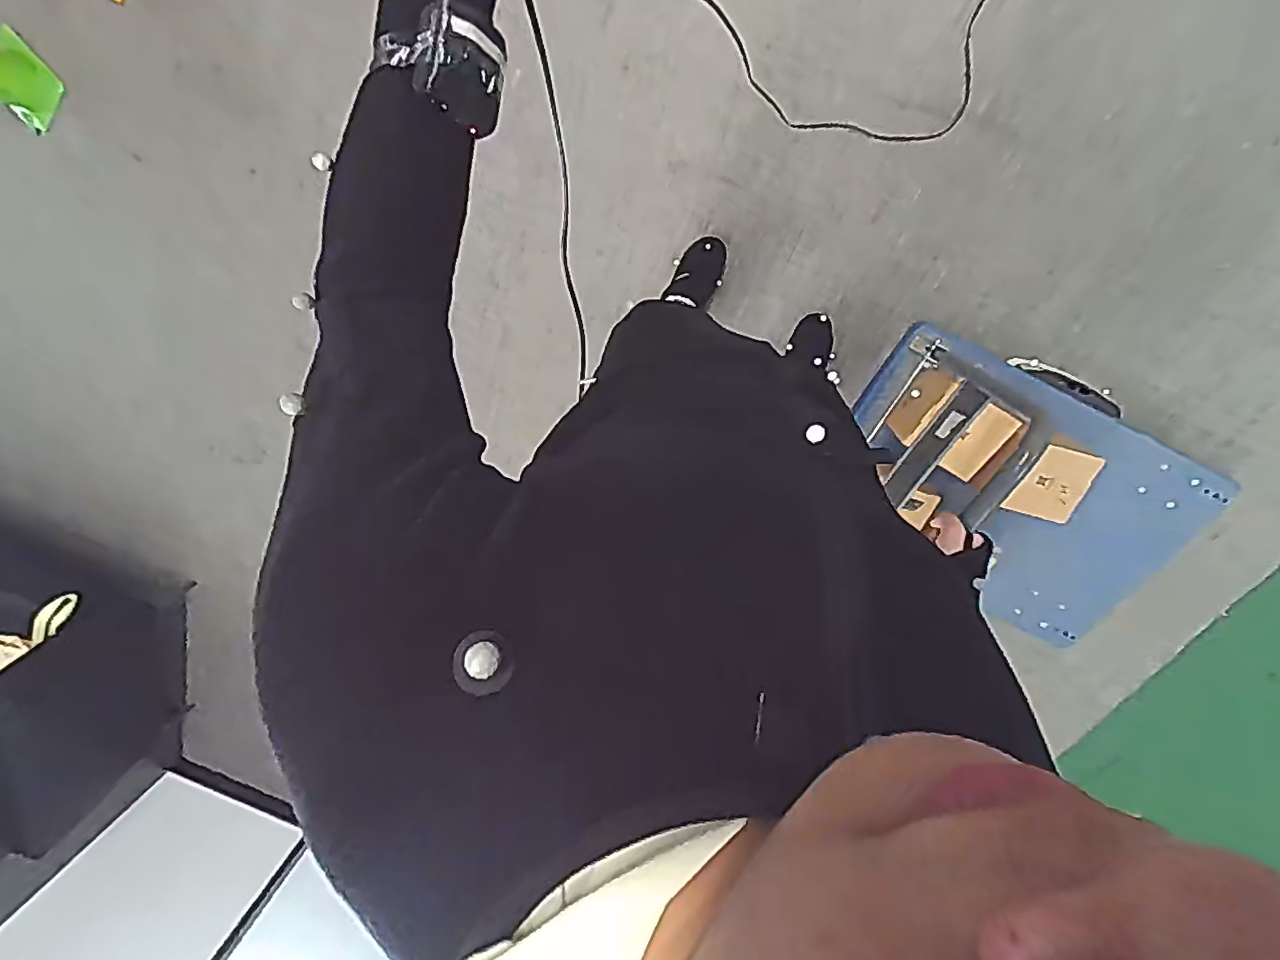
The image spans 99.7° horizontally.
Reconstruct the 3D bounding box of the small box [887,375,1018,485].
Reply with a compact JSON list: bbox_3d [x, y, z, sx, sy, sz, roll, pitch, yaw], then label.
[{"bbox_3d":[0.709,-0.124,1.248,0.179,0.176,0.168,31,116,-2],"label":"small box"}]

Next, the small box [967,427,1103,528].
[{"bbox_3d":[0.895,-0.016,1.254,0.179,0.176,0.168,16,115,4],"label":"small box"}]
